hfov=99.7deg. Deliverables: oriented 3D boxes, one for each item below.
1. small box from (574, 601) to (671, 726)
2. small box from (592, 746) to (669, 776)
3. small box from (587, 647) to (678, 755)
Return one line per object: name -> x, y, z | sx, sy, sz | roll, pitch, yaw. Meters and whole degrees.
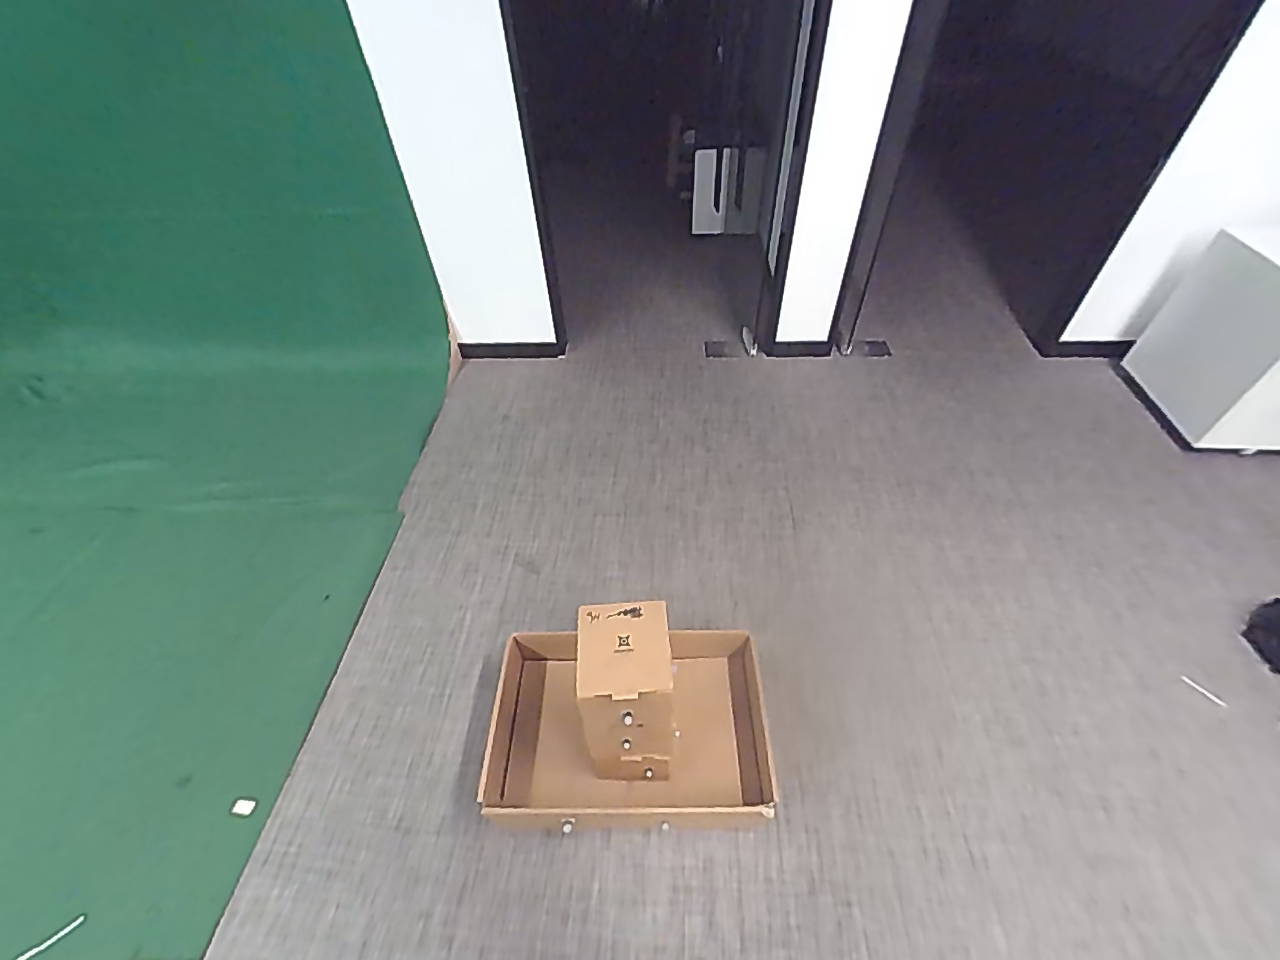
small box -> -0.028, 0.351, 1.021 | 0.168, 0.176, 0.179 | -3, 47, 0
small box -> -0.015, 0.575, 1.259 | 0.168, 0.176, 0.179 | 0, 46, 2
small box -> -0.018, 0.465, 1.139 | 0.179, 0.176, 0.168 | -3, 47, -2
